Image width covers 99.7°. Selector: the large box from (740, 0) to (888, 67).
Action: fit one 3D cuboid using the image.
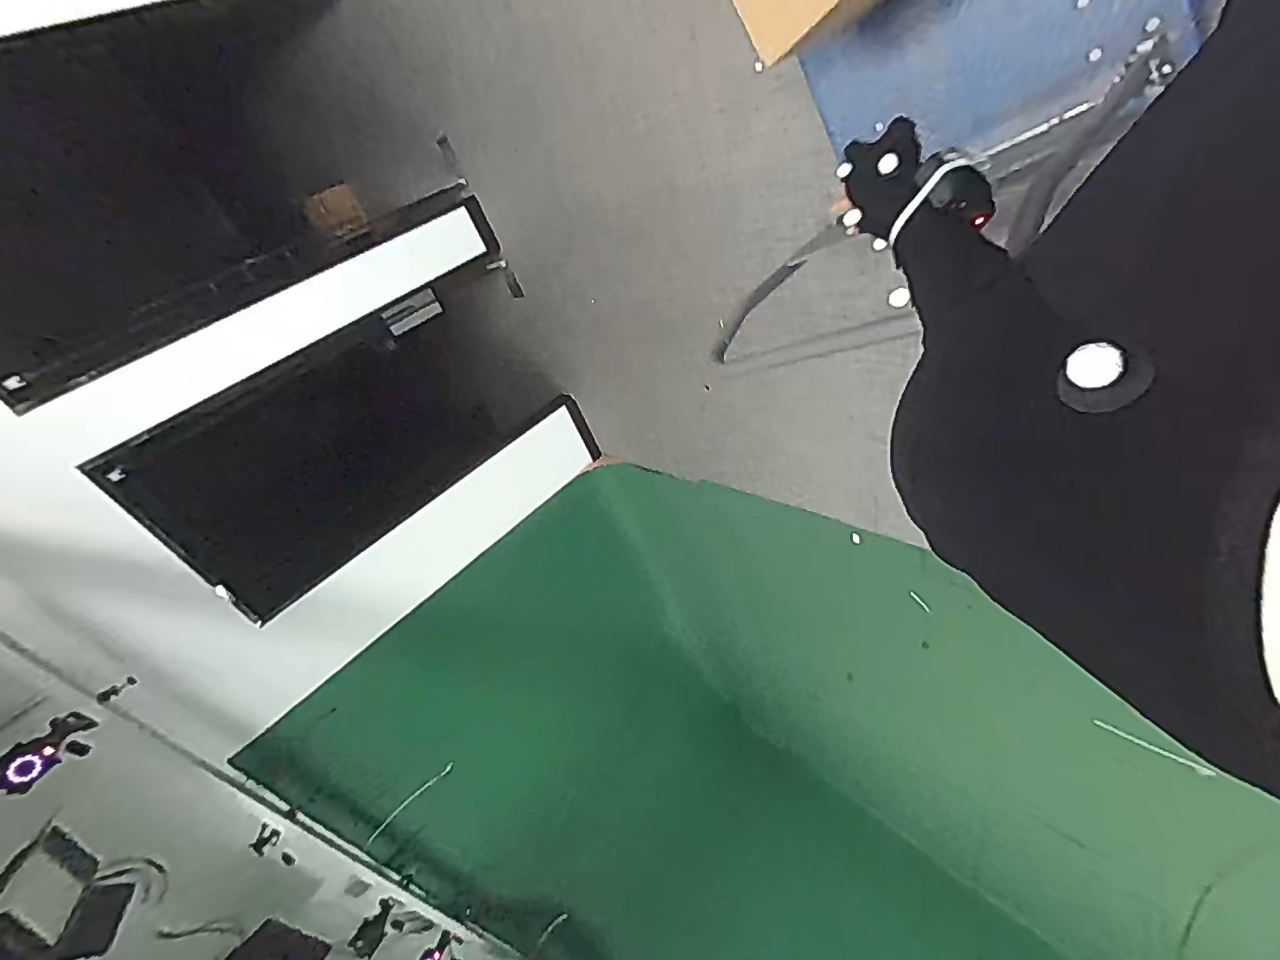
[{"bbox_3d":[0.355,-0.940,0.796,0.320,0.320,0.408,58,155,-16],"label":"large box"}]
